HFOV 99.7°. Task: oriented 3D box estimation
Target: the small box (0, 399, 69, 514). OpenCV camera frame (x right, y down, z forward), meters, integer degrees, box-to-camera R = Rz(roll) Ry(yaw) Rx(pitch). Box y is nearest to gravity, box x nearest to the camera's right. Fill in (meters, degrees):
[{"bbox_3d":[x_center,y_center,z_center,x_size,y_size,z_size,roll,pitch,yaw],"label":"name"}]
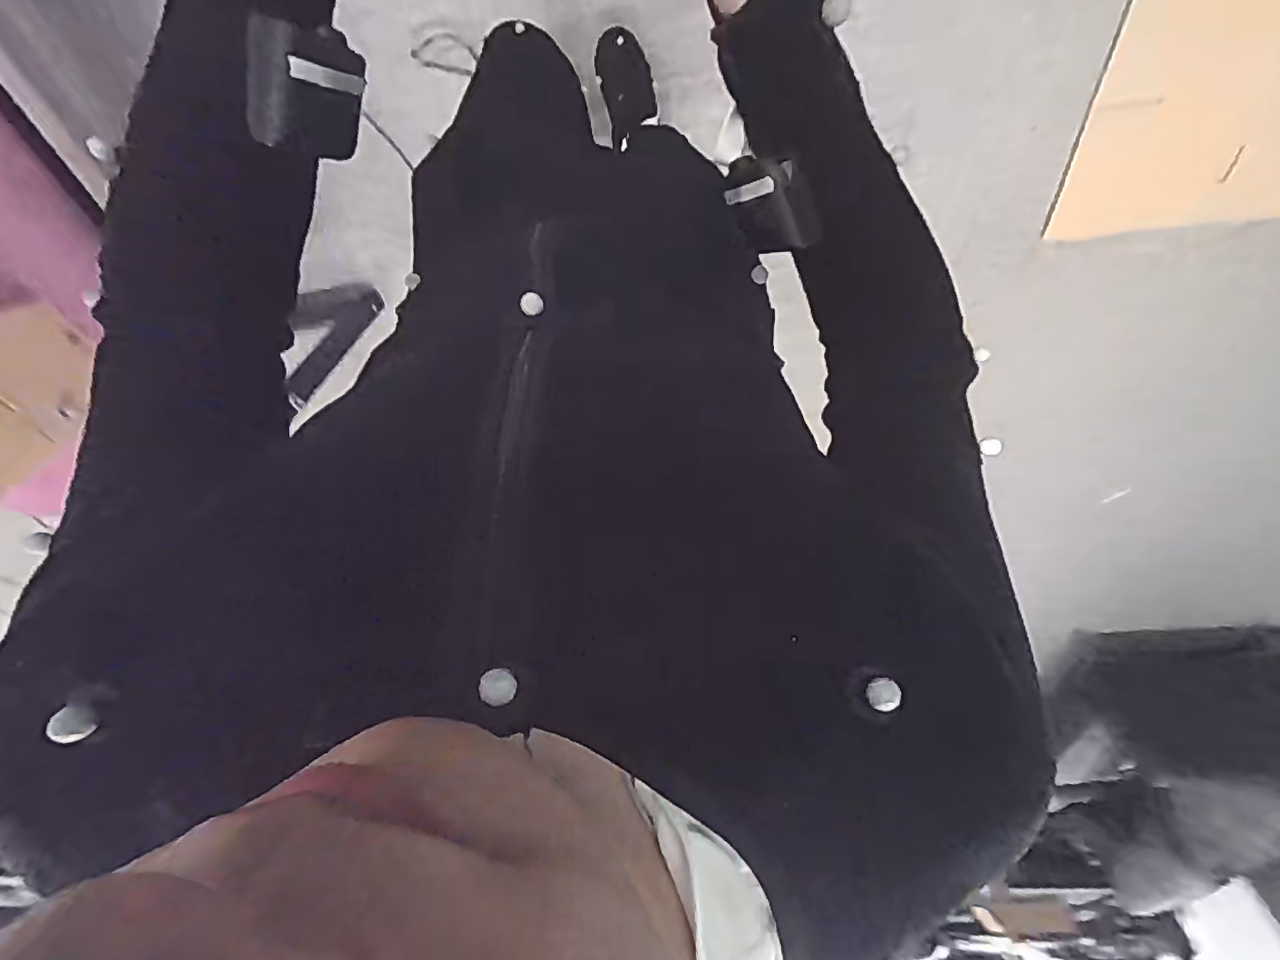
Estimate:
[{"bbox_3d":[-0.959,-0.031,0.720,0.168,0.176,0.179,-10,133,13],"label":"small box"}]
